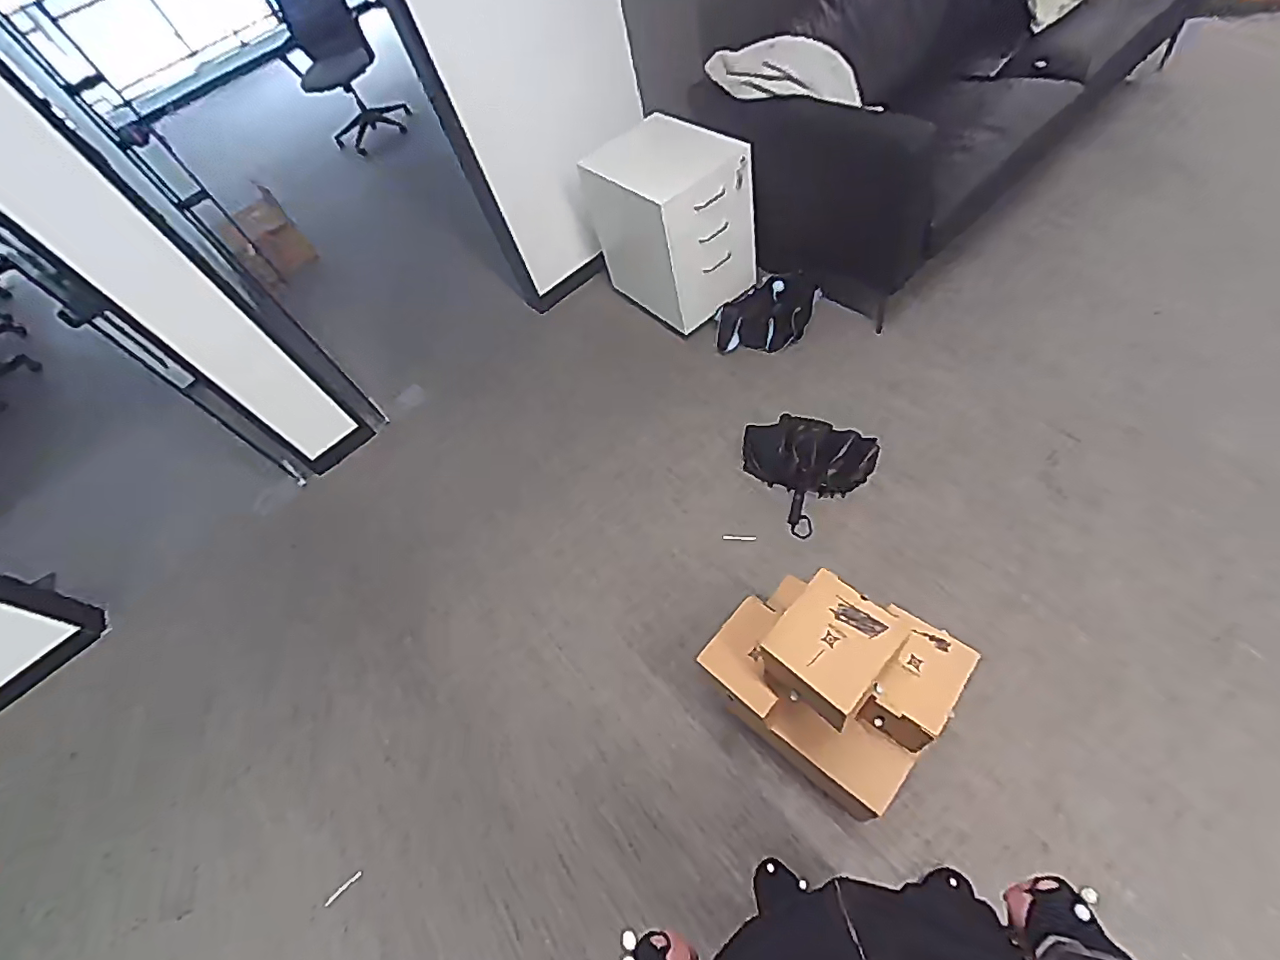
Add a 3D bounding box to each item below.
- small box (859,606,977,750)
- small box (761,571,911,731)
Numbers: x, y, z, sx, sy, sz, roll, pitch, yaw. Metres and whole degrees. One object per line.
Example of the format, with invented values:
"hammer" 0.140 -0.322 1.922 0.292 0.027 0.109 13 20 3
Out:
"small box" 0.498 0.379 1.024 0.168 0.176 0.179 30 69 30
"small box" 0.328 0.295 0.925 0.179 0.176 0.168 -45 56 -13
